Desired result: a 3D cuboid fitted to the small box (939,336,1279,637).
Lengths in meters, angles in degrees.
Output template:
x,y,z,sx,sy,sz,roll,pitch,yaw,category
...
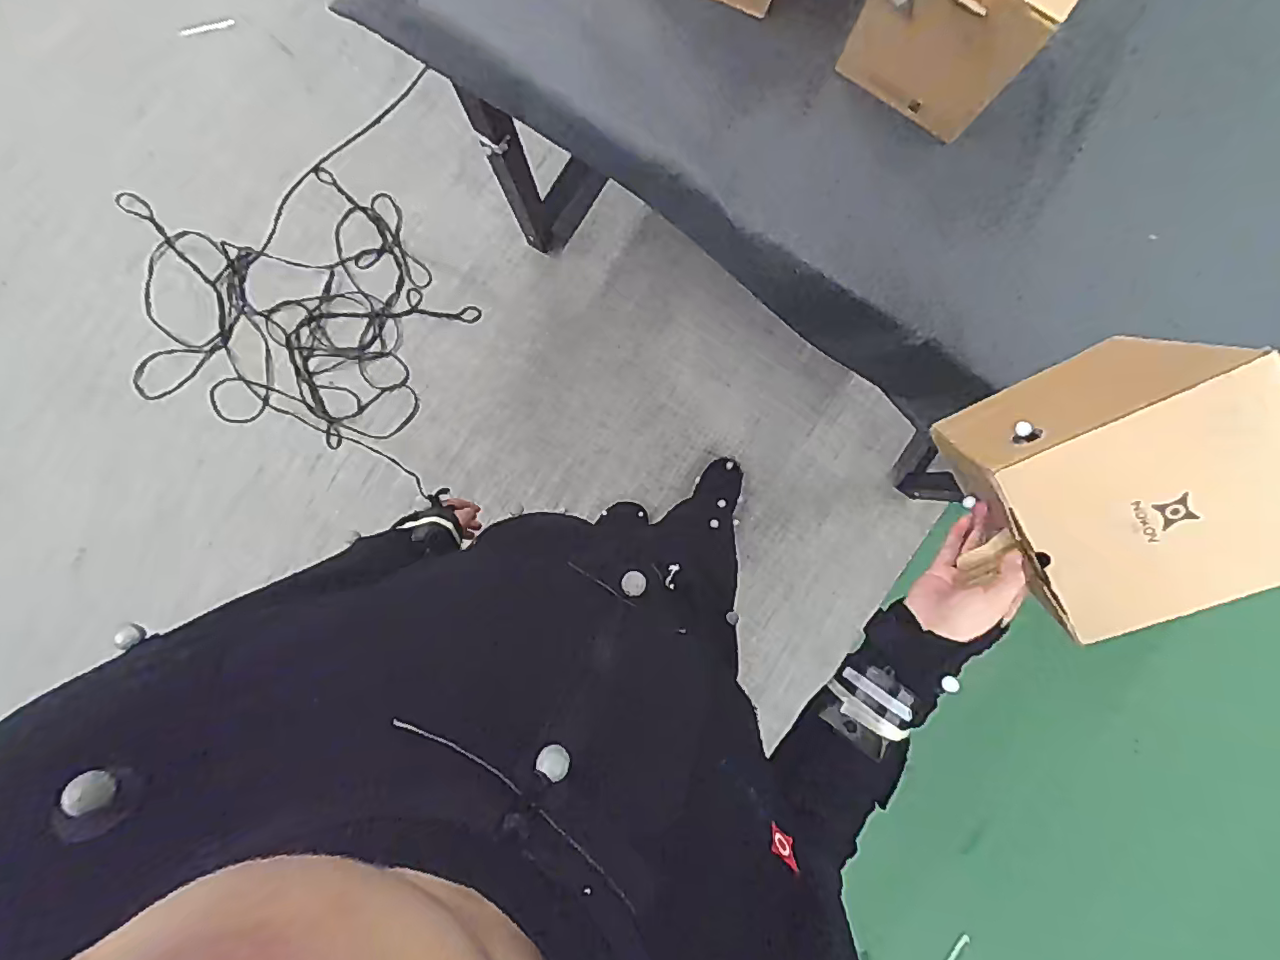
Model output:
x,y,z,sx,sy,sz,roll,pitch,yaw,category
0.395,-0.006,0.460,0.179,0.176,0.168,-29,99,21,small box
